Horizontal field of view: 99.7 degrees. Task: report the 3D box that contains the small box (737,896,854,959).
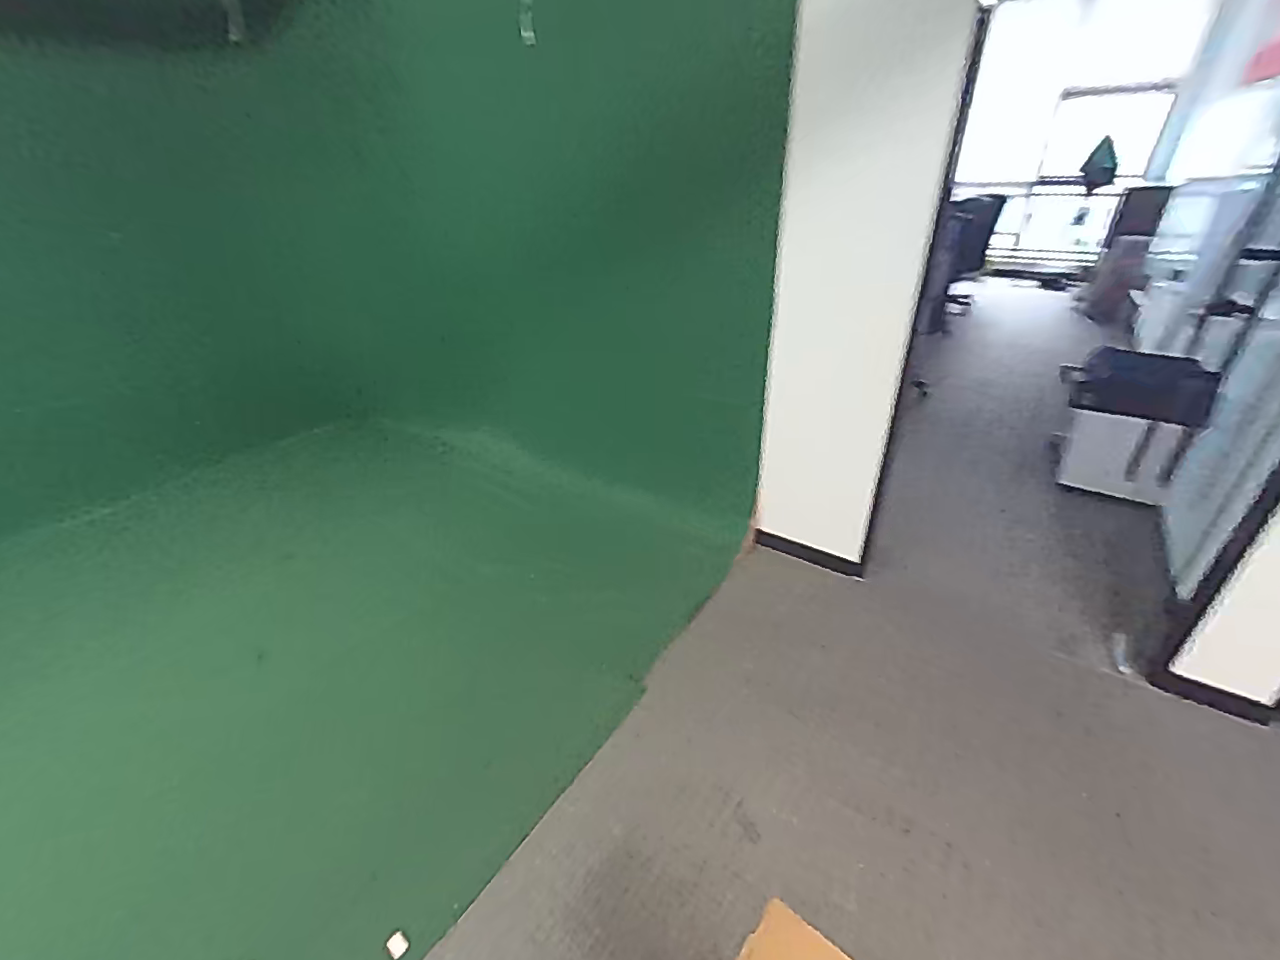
[{"bbox_3d":[0.211,0.730,0.727,0.179,0.176,0.168,22,38,36],"label":"small box"}]
